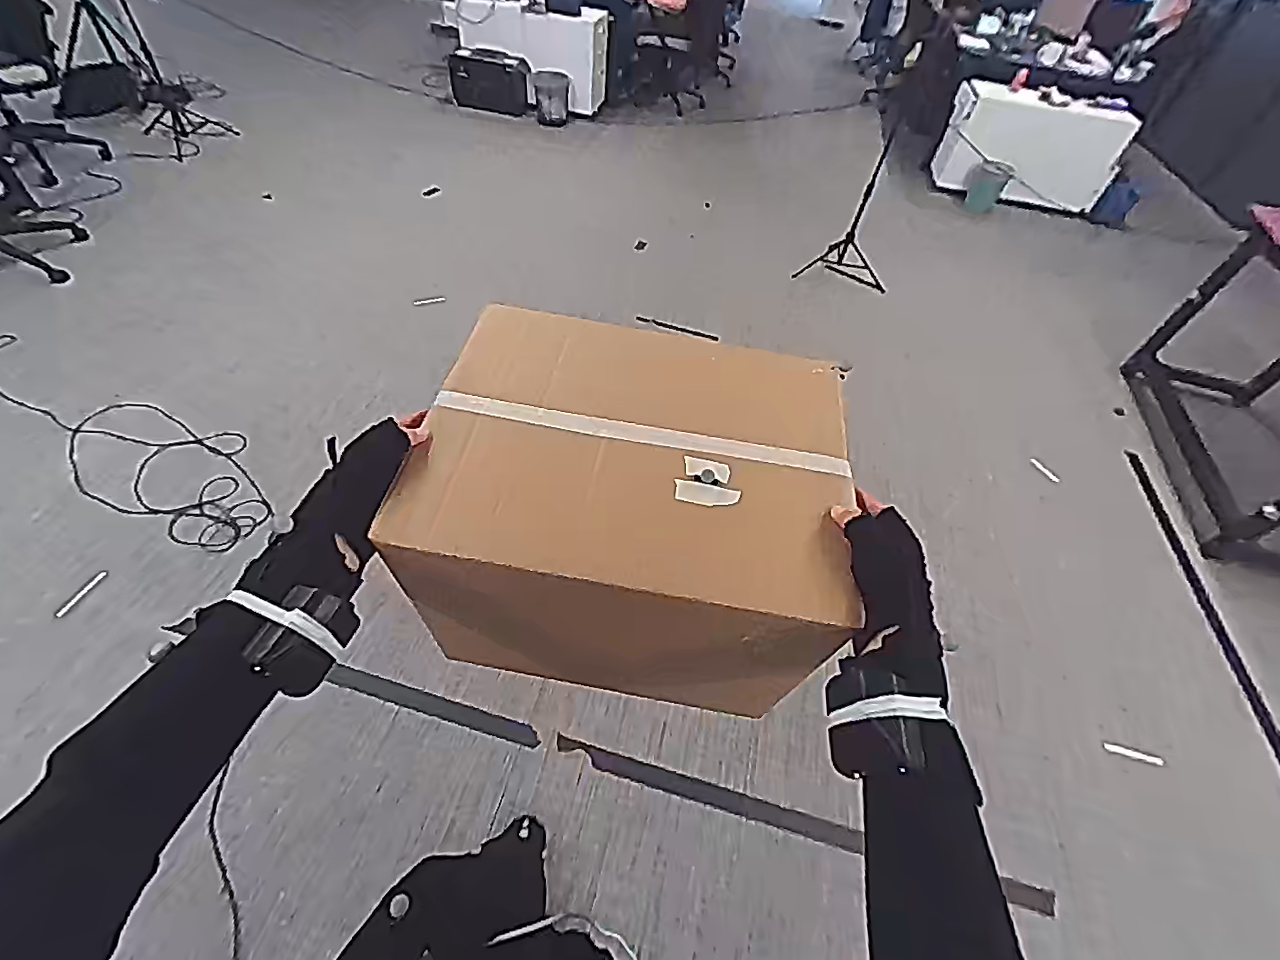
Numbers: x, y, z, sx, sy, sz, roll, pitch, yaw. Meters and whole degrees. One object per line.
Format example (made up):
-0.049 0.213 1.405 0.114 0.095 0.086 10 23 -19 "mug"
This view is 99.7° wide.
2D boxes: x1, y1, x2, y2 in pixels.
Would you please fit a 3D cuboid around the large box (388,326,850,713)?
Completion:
-0.015 0.059 0.659 0.408 0.320 0.320 10 54 1 "large box"
